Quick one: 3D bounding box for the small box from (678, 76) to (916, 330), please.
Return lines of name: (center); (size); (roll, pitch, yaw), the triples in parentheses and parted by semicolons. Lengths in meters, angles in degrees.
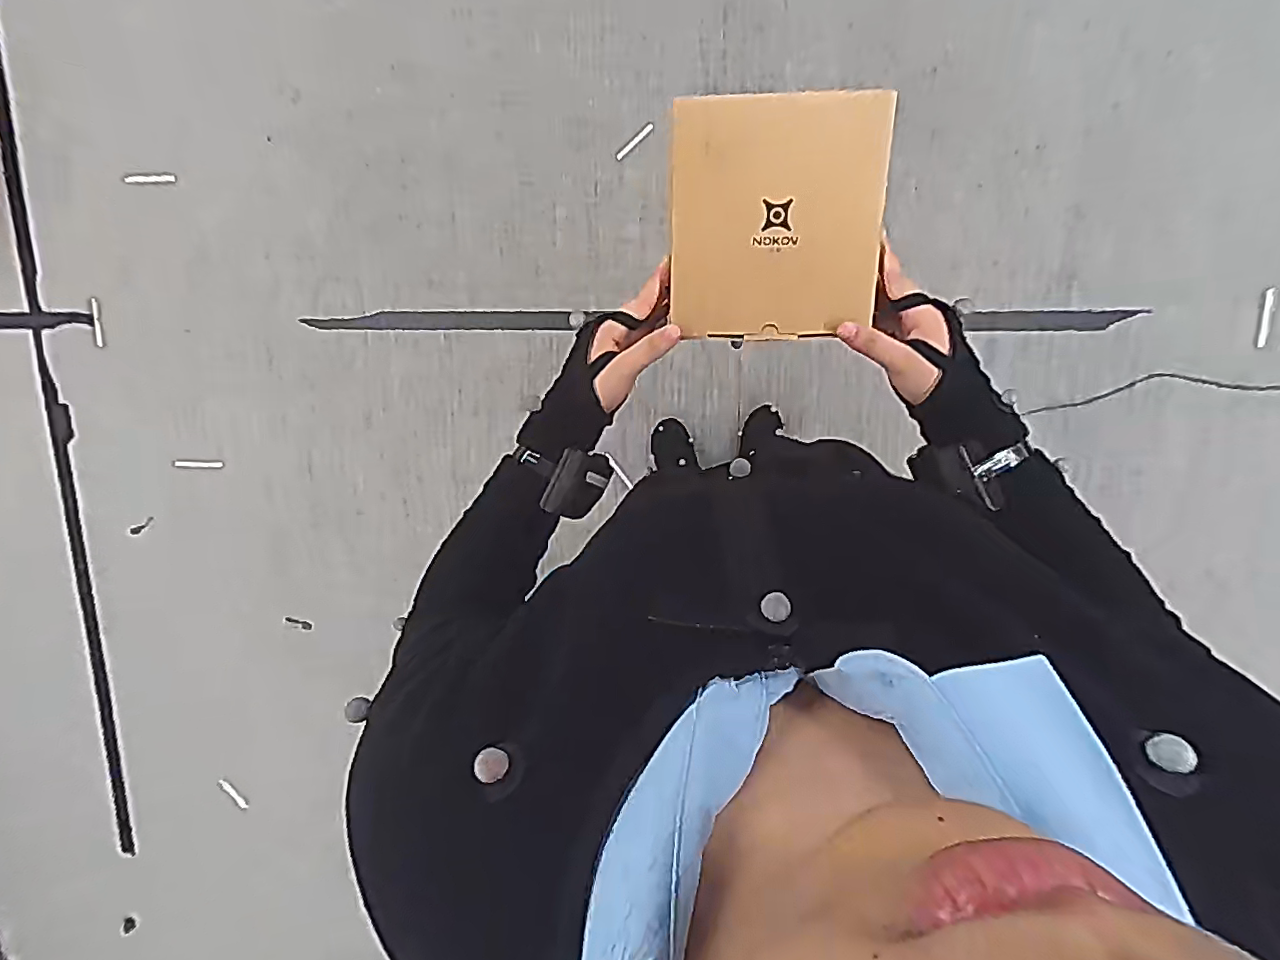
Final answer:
small box: (0.120, -0.228, 0.489); (0.168, 0.176, 0.179); (0, 107, 3)
